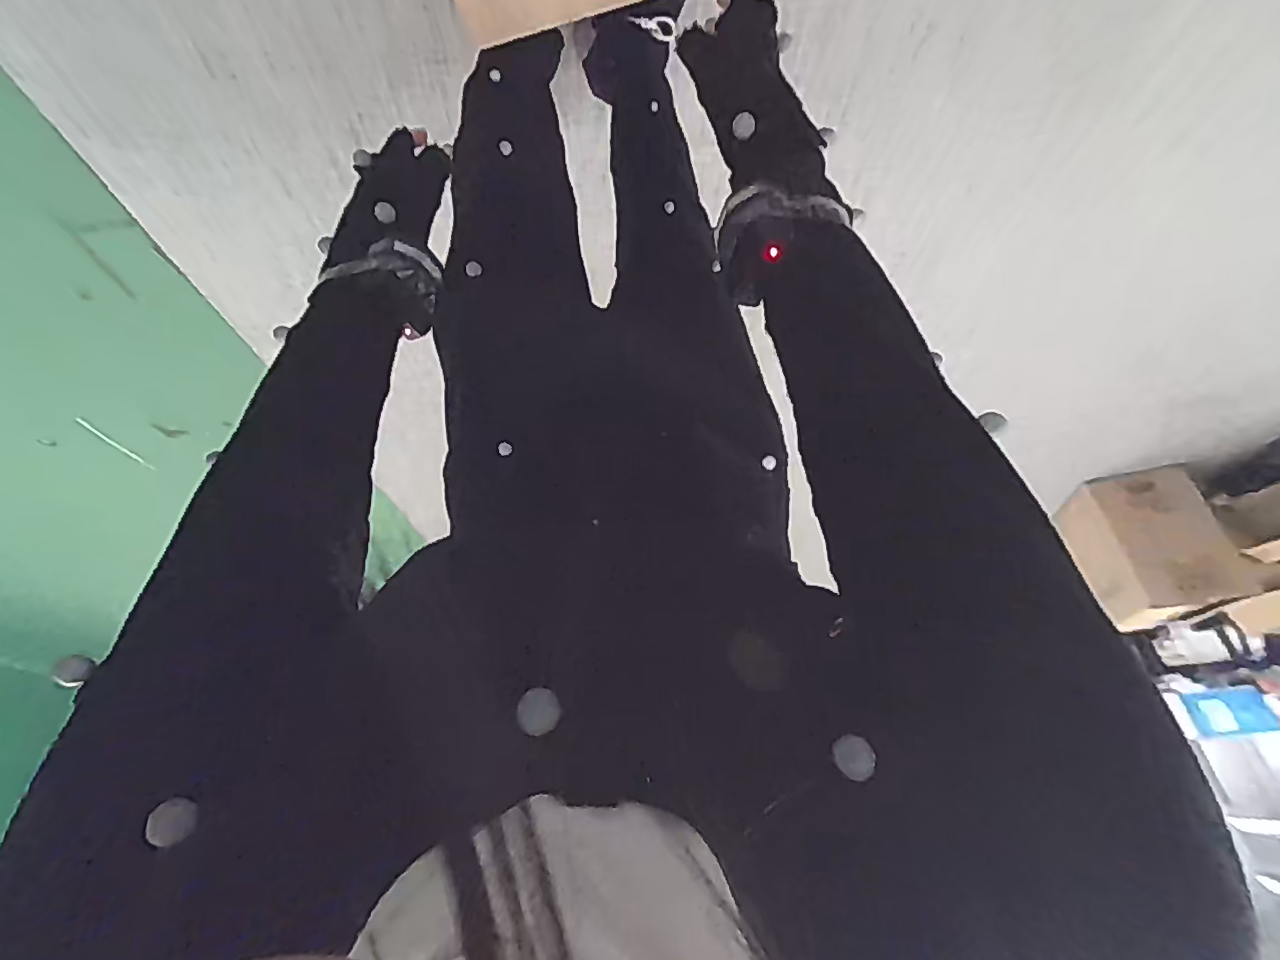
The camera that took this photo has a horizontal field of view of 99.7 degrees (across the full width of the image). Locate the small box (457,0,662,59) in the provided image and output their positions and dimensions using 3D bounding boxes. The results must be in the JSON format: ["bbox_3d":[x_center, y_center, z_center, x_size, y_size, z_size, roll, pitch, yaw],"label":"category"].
[{"bbox_3d":[-0.085,-0.510,0.457,0.179,0.176,0.168,-9,150,9],"label":"small box"}]
